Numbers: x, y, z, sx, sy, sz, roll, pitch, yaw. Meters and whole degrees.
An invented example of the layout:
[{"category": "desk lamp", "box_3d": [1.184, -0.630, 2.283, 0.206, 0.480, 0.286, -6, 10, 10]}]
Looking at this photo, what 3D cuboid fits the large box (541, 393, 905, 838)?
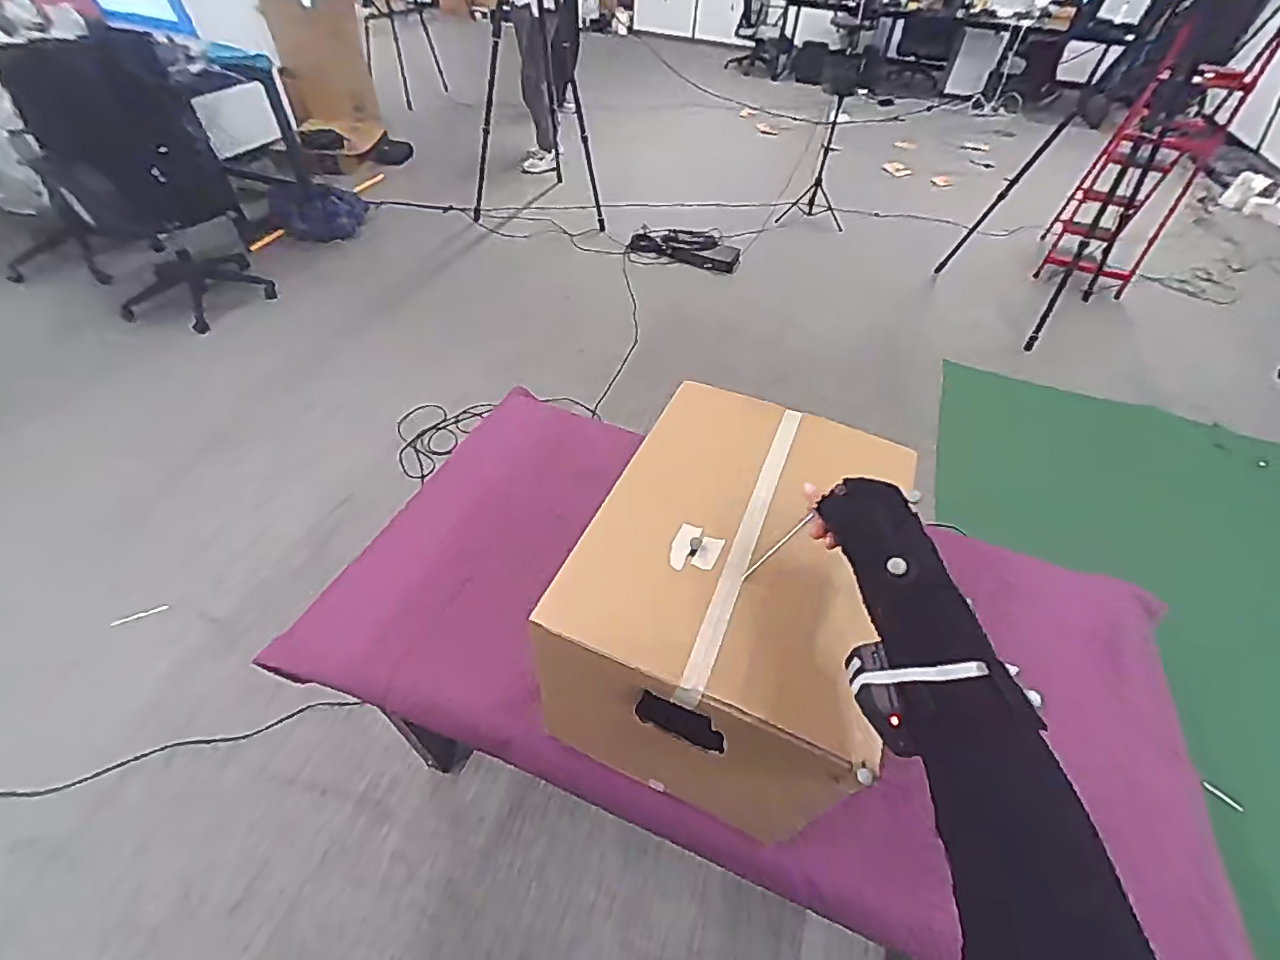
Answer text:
[{"category": "large box", "box_3d": [0.110, 0.159, 0.705, 0.320, 0.320, 0.408, 20, 49, 14]}]
